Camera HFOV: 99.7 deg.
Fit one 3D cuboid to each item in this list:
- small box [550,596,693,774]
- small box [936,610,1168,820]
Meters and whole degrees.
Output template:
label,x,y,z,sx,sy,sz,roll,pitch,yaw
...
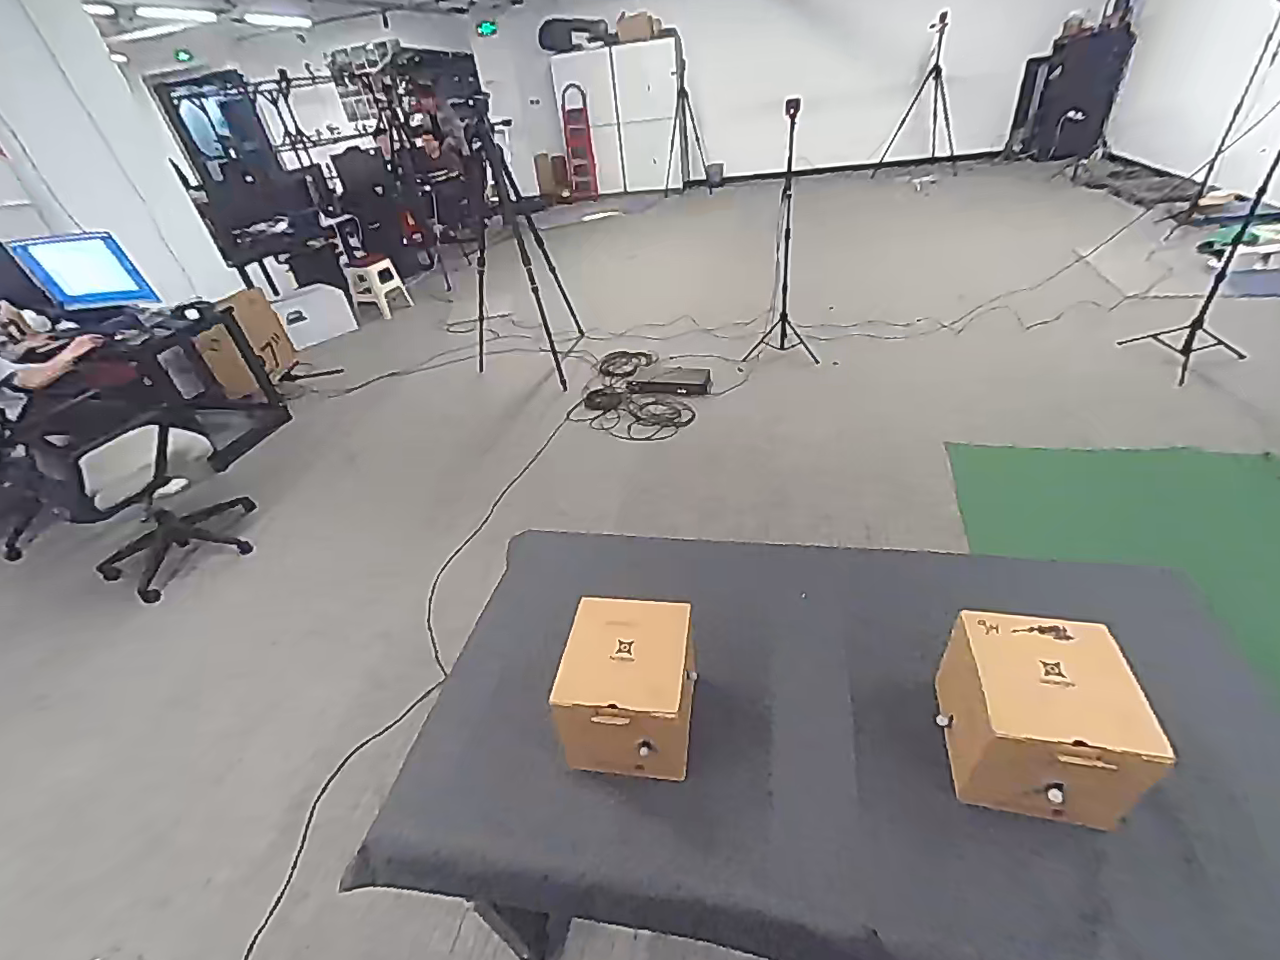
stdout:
label,x,y,z,sx,sy,sz,roll,pitch,yaw
small box,-0.013,0.291,0.773,0.168,0.176,0.179,2,36,10
small box,0.490,0.292,0.679,0.168,0.176,0.179,4,39,15
